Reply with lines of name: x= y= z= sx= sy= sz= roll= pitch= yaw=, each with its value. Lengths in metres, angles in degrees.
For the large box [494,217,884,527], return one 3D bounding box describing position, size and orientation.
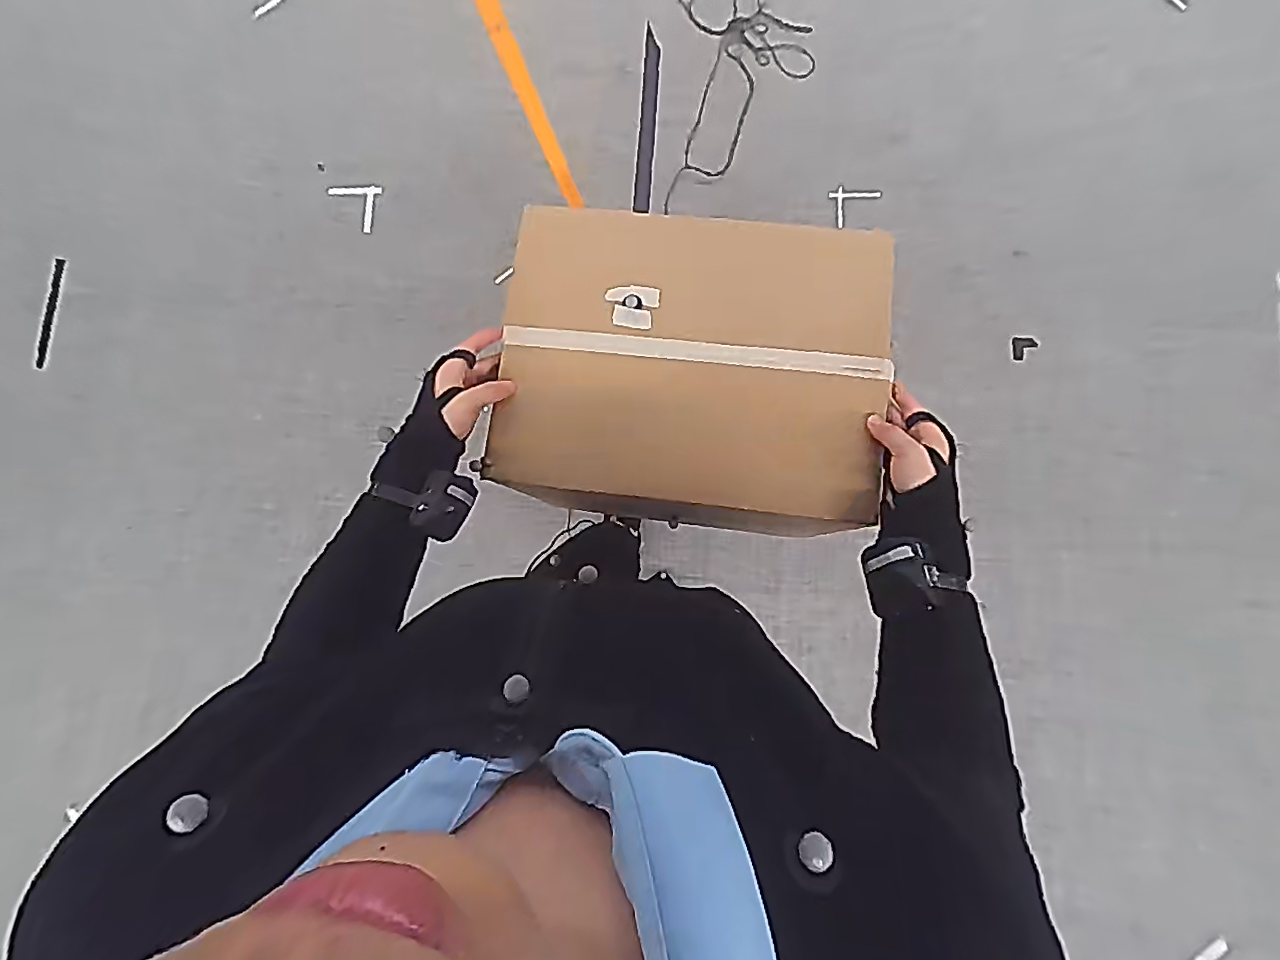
large box: x=0.067 y=-0.113 z=0.729 sx=0.408 sy=0.320 sz=0.320 roll=6 pitch=80 yaw=5
